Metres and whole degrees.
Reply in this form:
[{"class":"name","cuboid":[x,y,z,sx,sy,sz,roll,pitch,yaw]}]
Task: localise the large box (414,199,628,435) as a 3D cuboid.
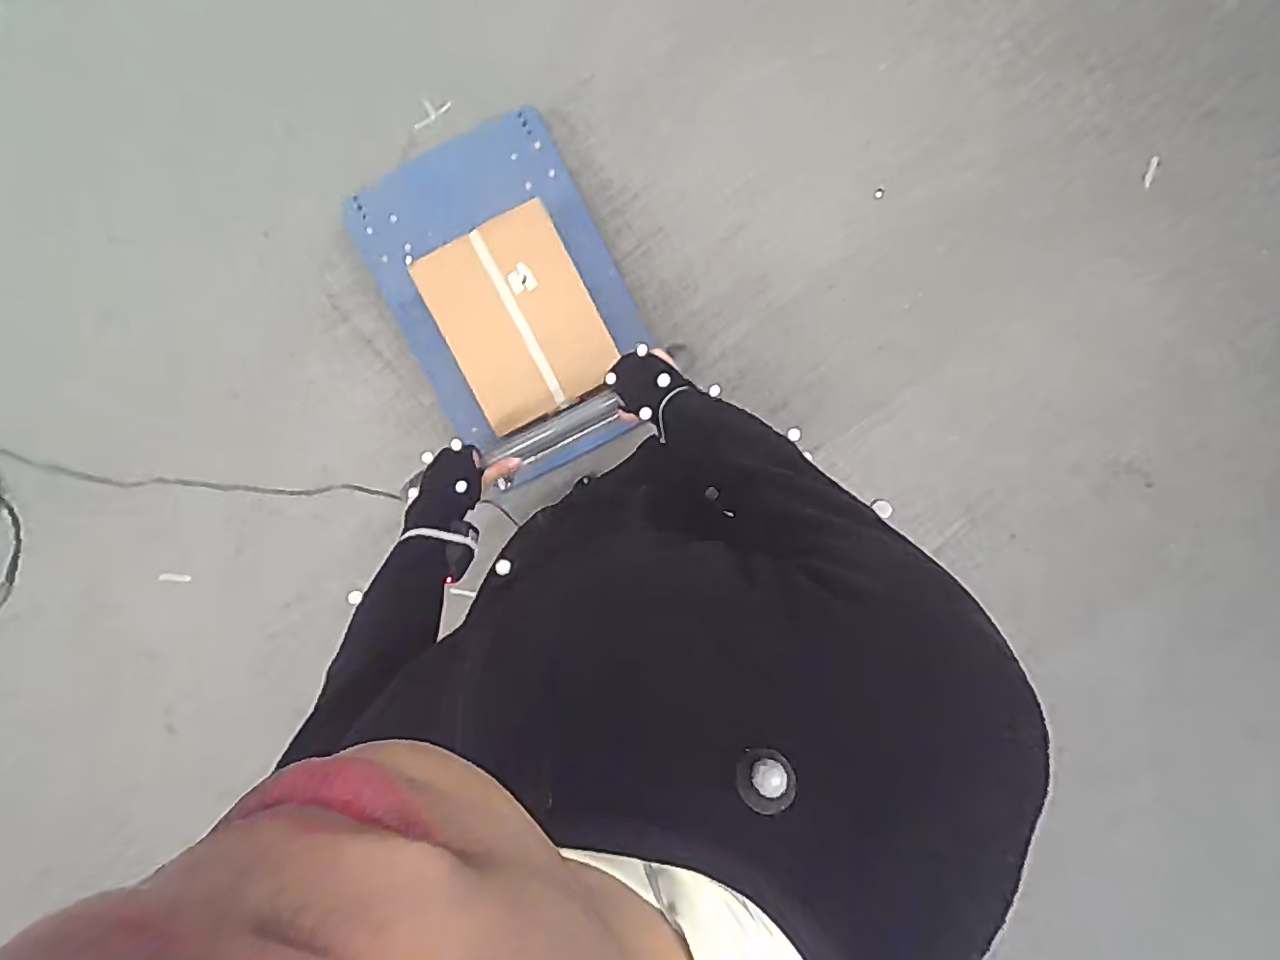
[{"class":"large box","cuboid":[-0.253,-0.355,1.293,0.320,0.320,0.408,-27,93,0]}]
